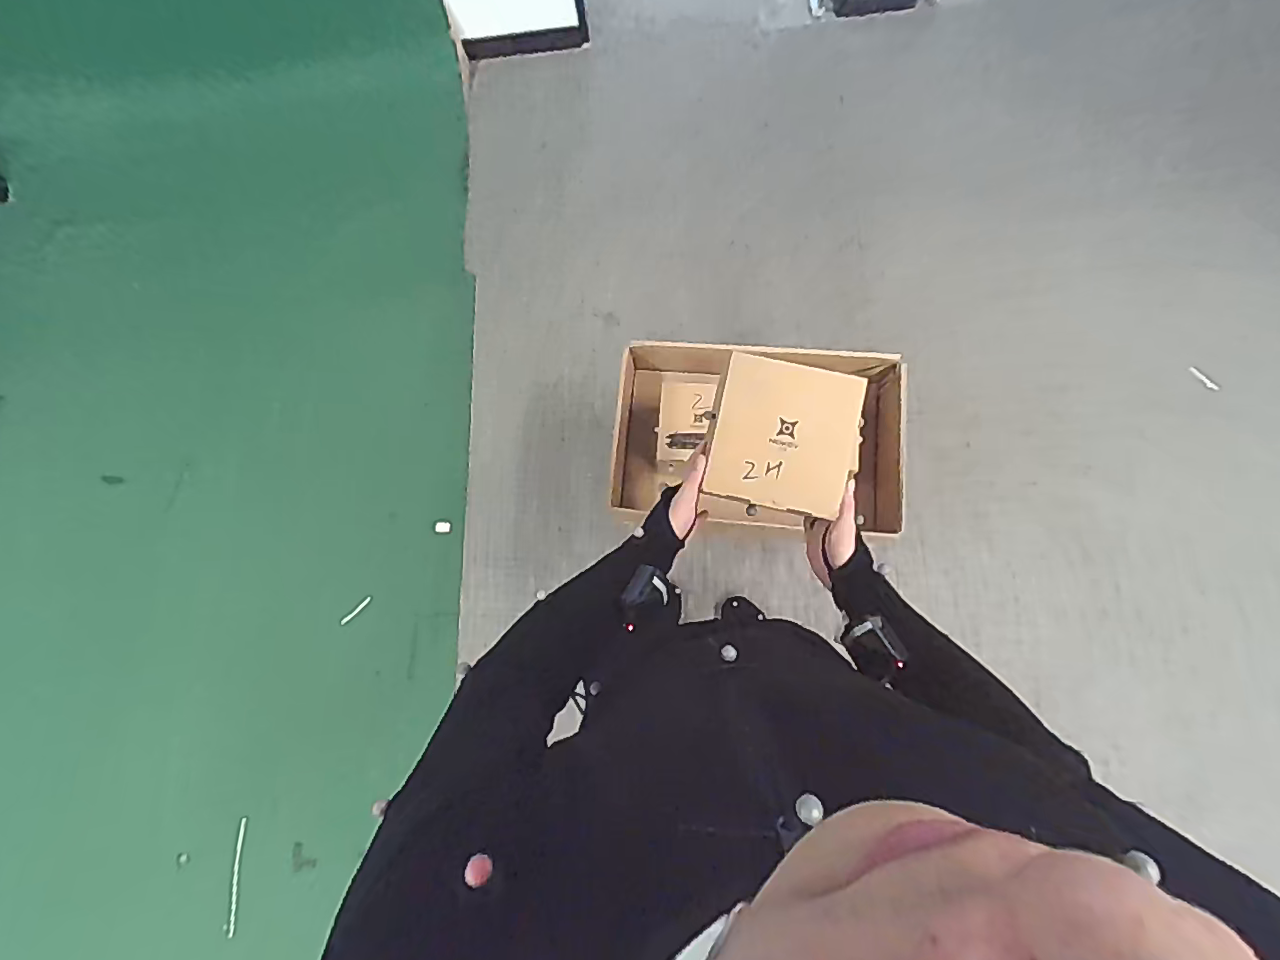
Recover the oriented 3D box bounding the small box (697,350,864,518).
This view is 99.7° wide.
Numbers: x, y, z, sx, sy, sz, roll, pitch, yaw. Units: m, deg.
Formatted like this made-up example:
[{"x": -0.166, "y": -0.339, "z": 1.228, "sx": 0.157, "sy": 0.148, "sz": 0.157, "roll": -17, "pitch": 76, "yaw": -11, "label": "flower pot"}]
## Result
[{"x": 0.175, "y": -0.054, "z": 0.729, "sx": 0.168, "sy": 0.176, "sz": 0.179, "roll": 12, "pitch": 90, "yaw": 2, "label": "small box"}]
